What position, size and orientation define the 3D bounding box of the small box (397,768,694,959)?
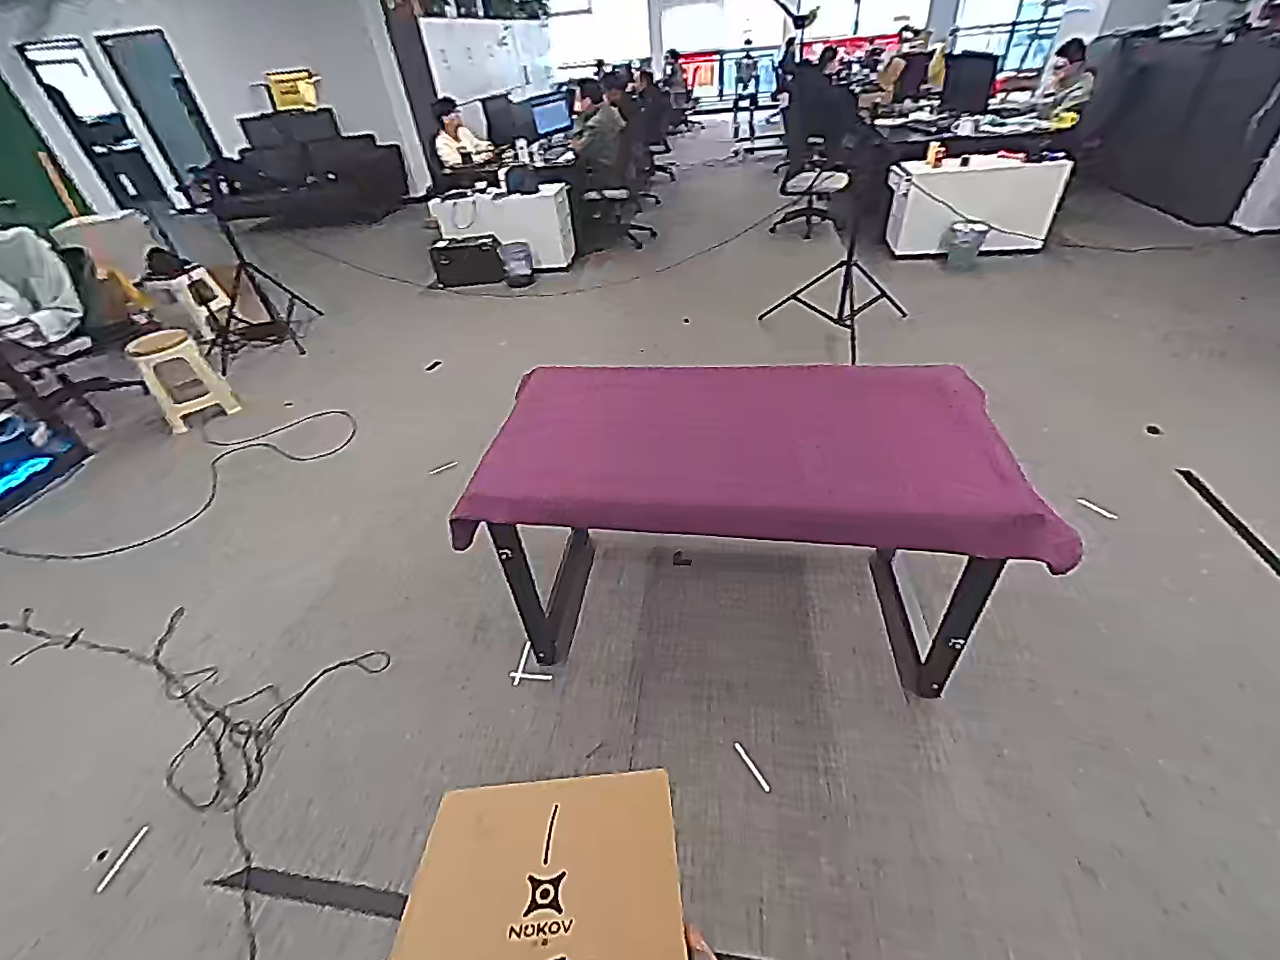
[{"bbox_3d":[-0.047,0.326,0.347,0.168,0.176,0.179,-5,21,0],"label":"small box"}]
